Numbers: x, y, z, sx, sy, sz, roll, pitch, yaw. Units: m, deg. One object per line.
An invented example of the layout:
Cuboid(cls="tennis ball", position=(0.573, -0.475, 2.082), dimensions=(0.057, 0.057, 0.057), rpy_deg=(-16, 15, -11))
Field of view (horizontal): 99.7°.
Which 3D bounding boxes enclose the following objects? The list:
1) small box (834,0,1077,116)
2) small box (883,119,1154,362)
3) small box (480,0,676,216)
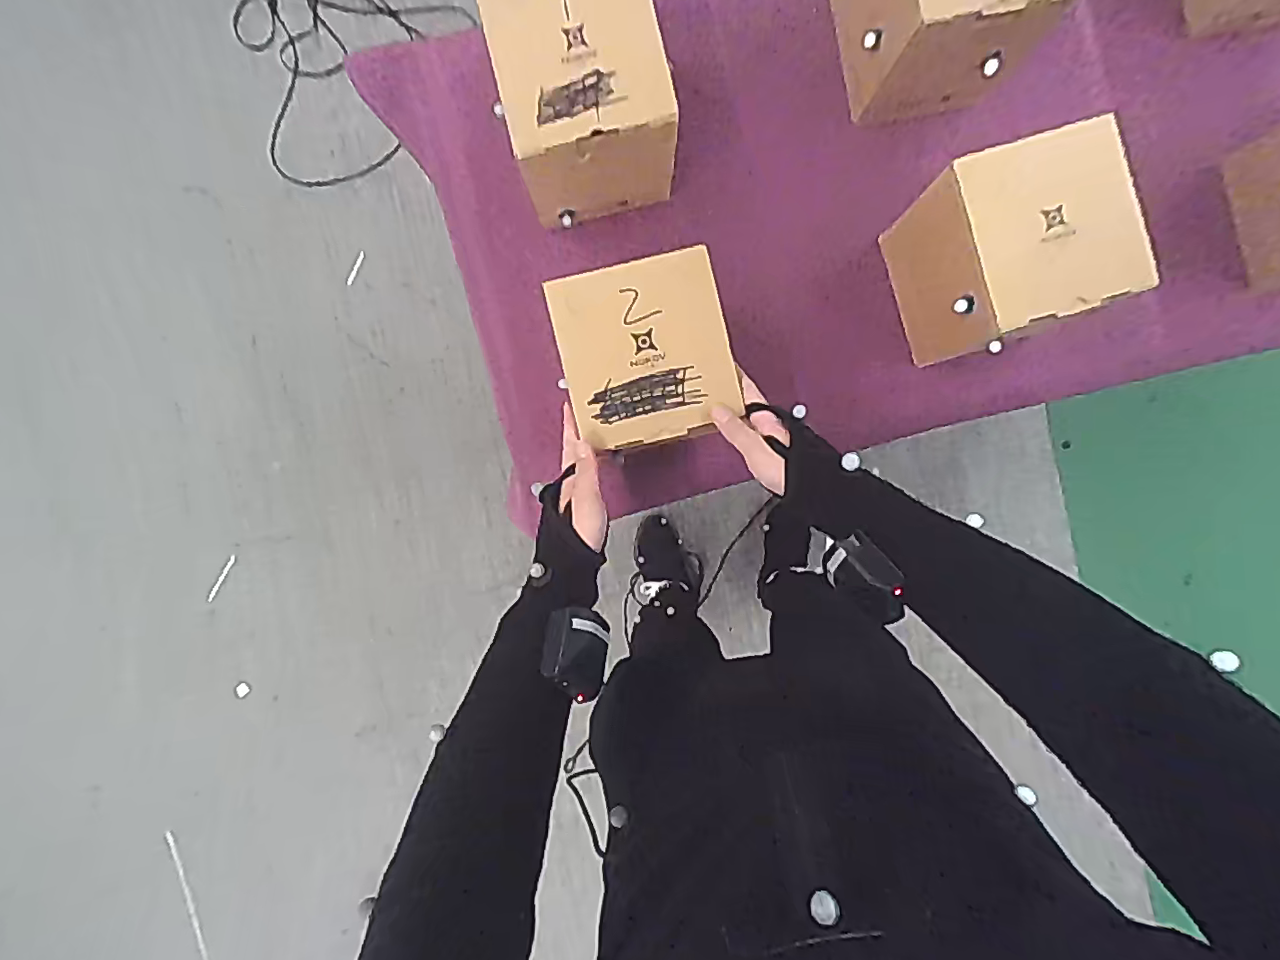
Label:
Cuboid(cls="small box", position=(0.334, -0.540, 0.599), dimensions=(0.168, 0.176, 0.179), rpy_deg=(-11, 92, 0))
Cuboid(cls="small box", position=(0.403, -0.251, 0.608), dimensions=(0.168, 0.176, 0.179), rpy_deg=(-16, 91, 0))
Cuboid(cls="small box", position=(-0.060, -0.419, 0.601), dimensions=(0.168, 0.176, 0.179), rpy_deg=(-13, 92, 0))
